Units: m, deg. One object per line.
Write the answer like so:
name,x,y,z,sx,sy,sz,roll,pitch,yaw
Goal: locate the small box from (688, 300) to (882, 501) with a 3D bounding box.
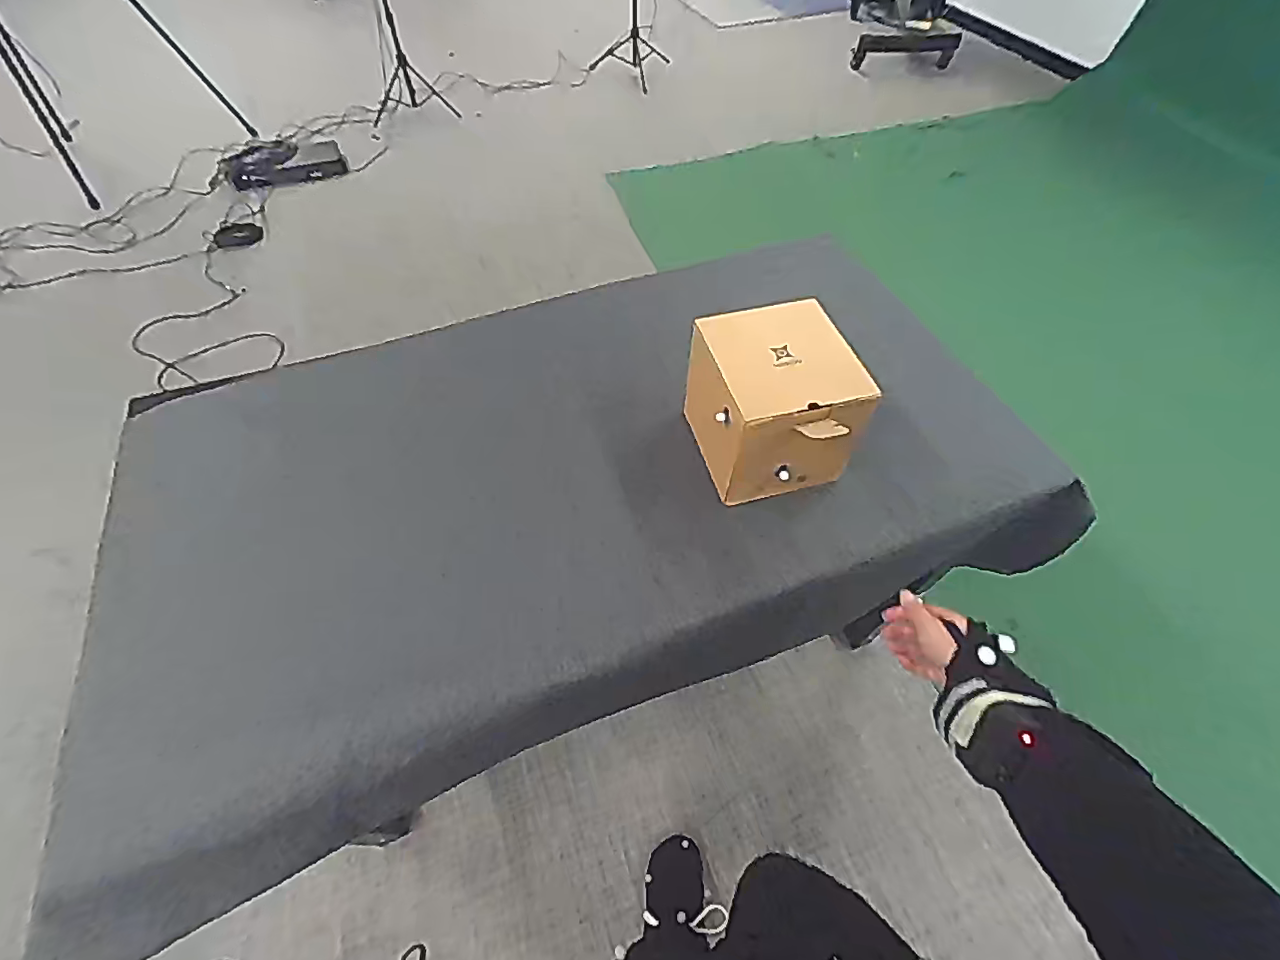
small box,0.167,-0.100,0.697,0.168,0.176,0.179,-12,57,-10
